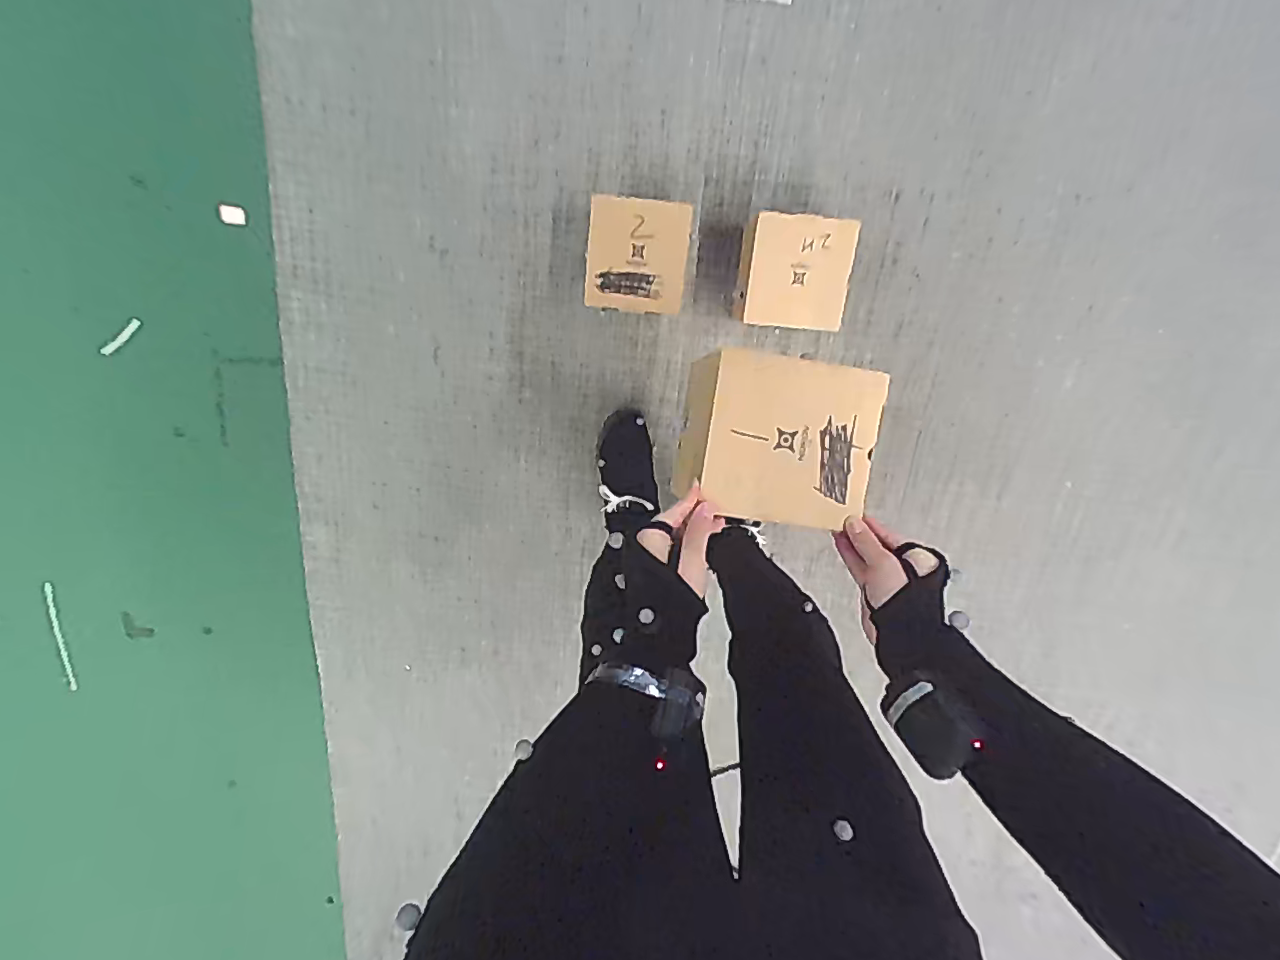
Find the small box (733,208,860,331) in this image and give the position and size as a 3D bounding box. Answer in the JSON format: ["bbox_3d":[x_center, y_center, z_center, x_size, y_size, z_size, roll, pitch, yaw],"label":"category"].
[{"bbox_3d":[0.264,-0.367,0.961,0.168,0.176,0.179,6,108,0],"label":"small box"}]

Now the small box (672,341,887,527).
[{"bbox_3d":[0.144,-0.053,0.621,0.179,0.176,0.168,9,95,-6],"label":"small box"}]
